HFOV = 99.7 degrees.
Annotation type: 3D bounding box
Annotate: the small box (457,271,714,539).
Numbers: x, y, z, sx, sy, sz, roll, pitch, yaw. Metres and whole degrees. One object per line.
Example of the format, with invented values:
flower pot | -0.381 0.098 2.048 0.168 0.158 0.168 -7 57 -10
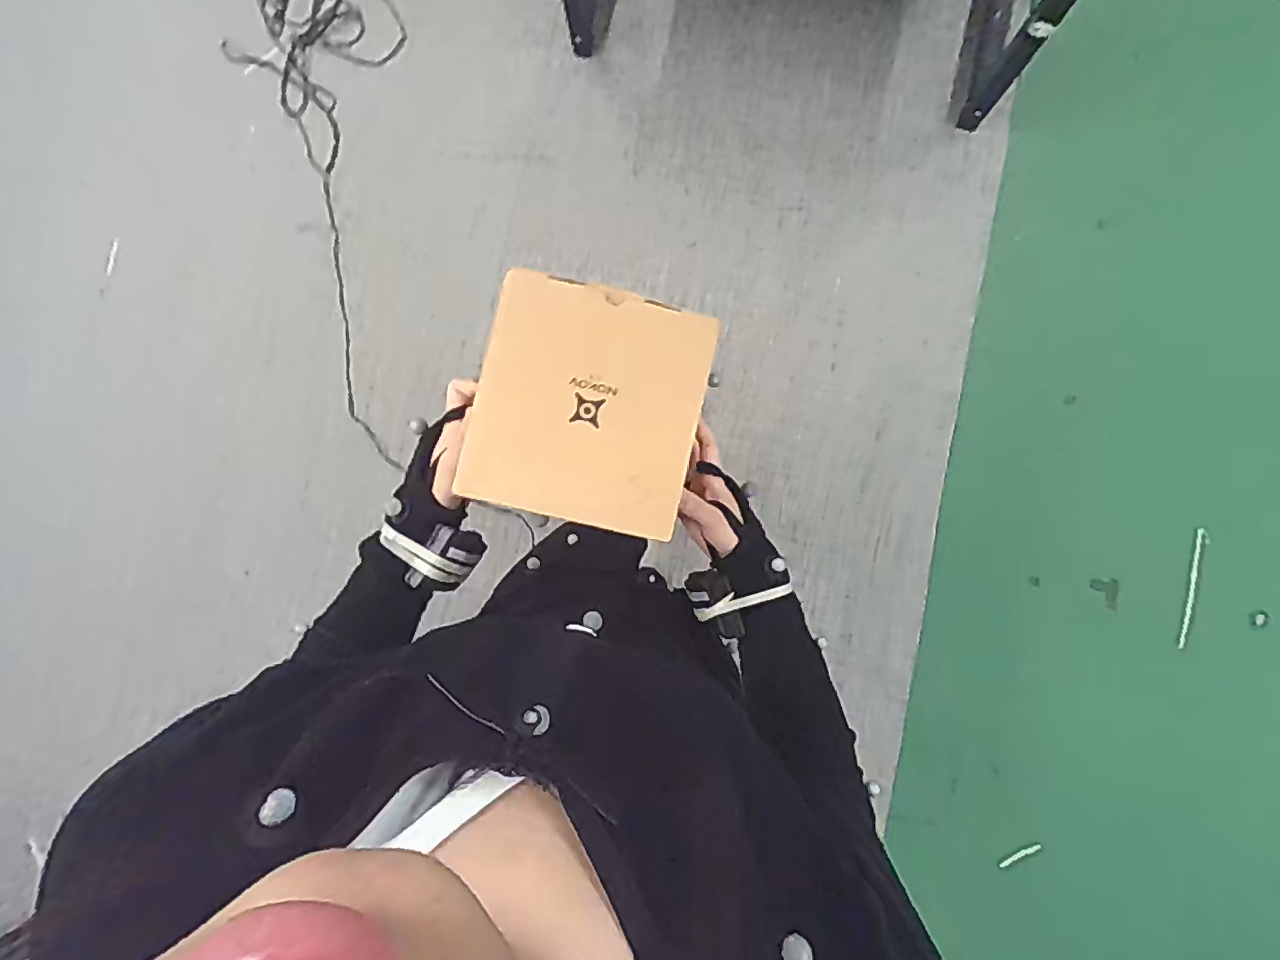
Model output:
small box | -0.044 -0.054 0.488 0.168 0.176 0.179 13 86 -3
